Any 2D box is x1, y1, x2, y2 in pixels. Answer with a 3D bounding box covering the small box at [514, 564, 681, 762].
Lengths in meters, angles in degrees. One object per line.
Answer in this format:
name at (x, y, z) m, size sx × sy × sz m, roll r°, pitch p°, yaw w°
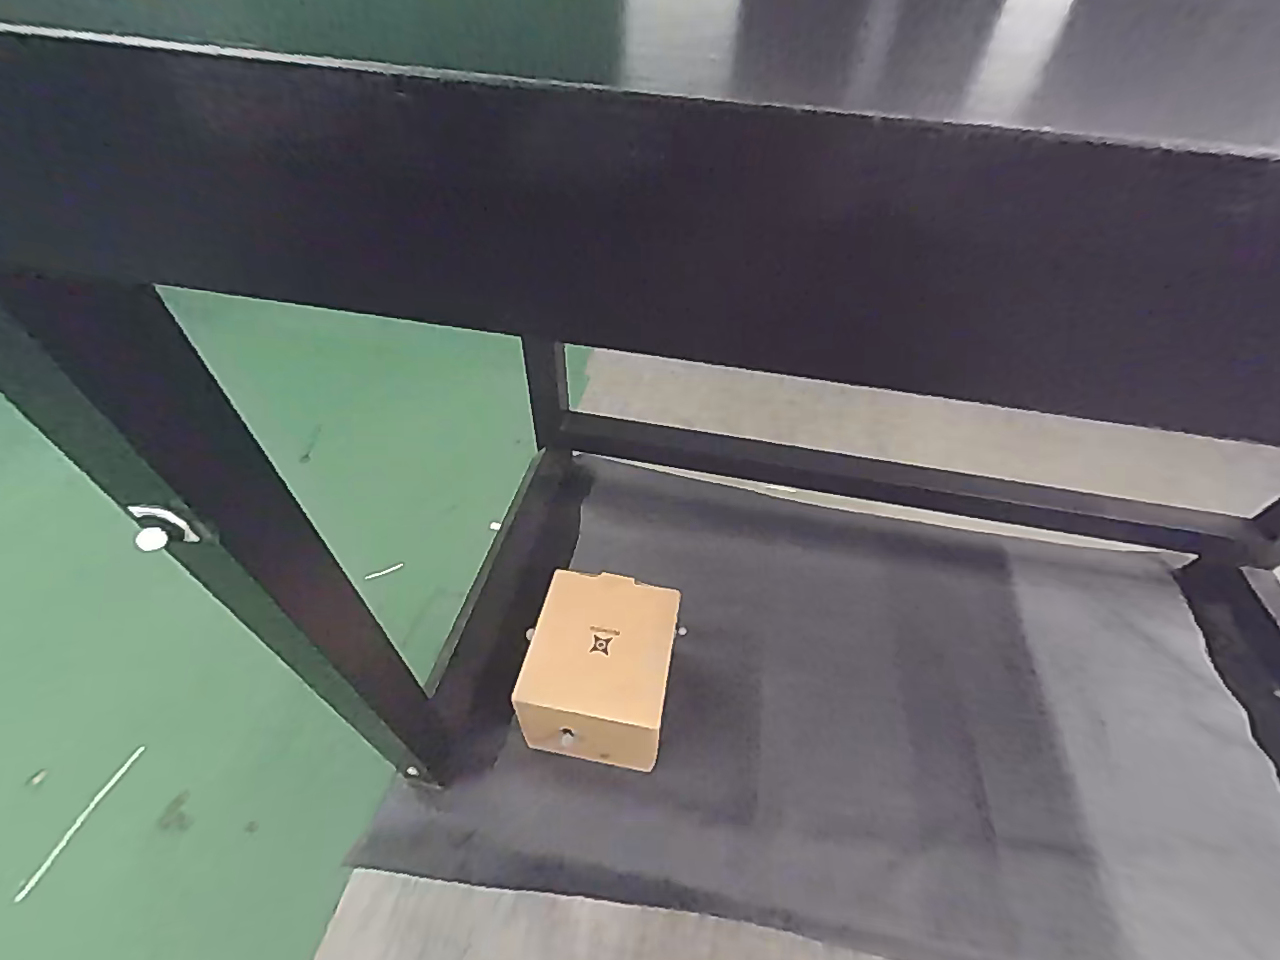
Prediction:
small box at (-0.045, 0.236, 0.692) m, size 0.168 × 0.176 × 0.179 m, roll 9°, pitch 47°, yaw 5°
